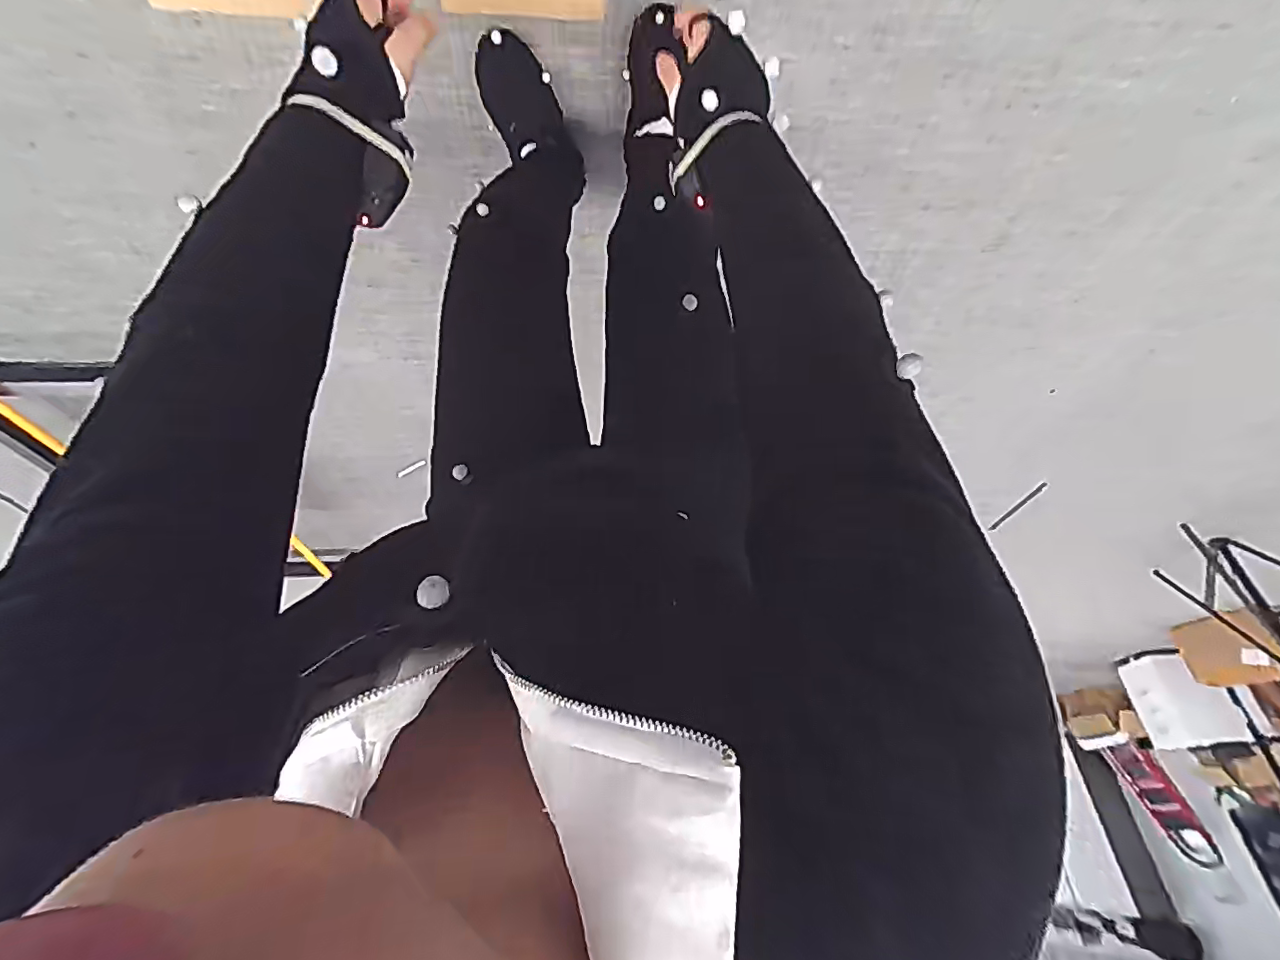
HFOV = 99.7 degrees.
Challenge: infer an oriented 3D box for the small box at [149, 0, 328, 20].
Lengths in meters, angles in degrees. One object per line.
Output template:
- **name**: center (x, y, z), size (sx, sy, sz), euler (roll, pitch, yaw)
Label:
- **small box**: center (-0.394, -0.577, 0.515), size (0.179, 0.176, 0.168), euler (1, 147, -5)

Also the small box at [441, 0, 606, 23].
- **small box**: center (-0.114, -0.587, 0.522), size (0.168, 0.176, 0.179), euler (1, 148, -3)
